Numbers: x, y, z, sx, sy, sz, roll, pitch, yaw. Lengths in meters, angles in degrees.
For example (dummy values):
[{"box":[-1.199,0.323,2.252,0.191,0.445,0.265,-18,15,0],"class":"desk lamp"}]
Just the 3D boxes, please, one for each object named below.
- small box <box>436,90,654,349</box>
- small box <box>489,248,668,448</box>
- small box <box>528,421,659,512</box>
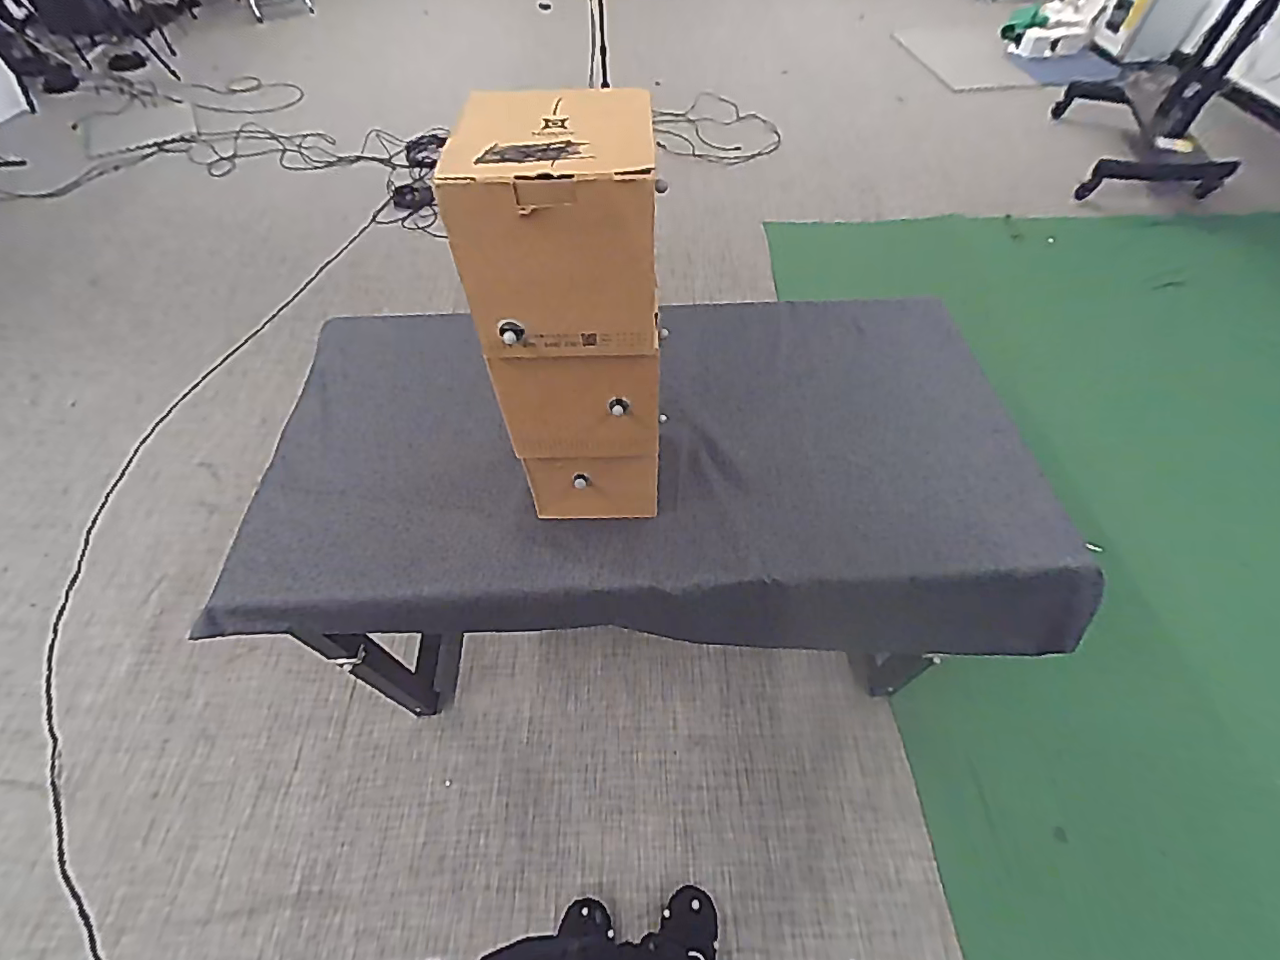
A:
[{"box":[-0.070,-0.239,0.512,0.168,0.176,0.179,-1,53,0],"class":"small box"},{"box":[-0.065,-0.153,0.632,0.179,0.176,0.168,-4,55,-3],"class":"small box"},{"box":[-0.064,-0.064,0.791,0.179,0.176,0.168,-3,53,-2],"class":"small box"}]
